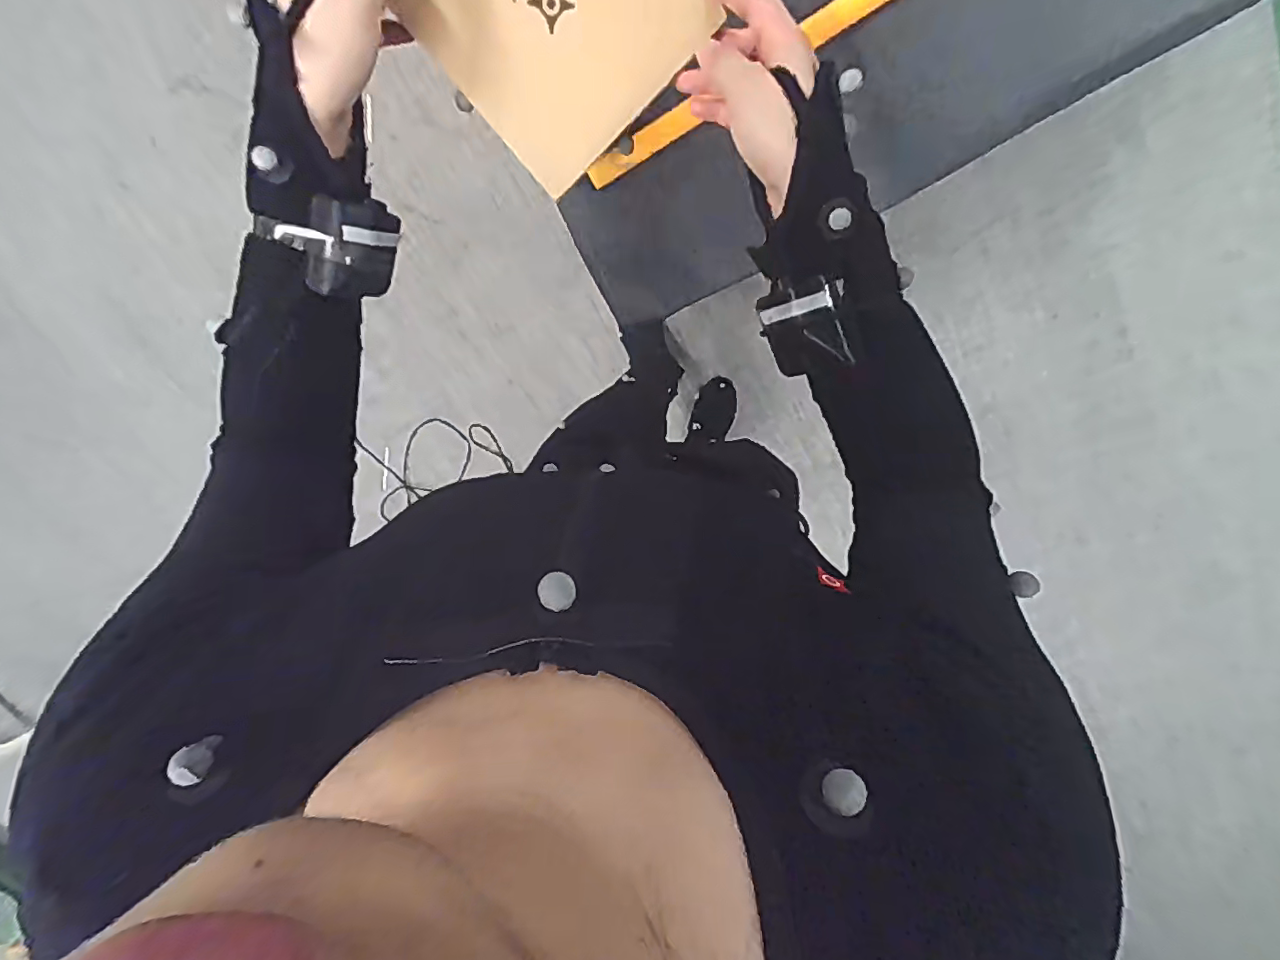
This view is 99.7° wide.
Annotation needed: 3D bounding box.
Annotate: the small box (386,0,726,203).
[{"bbox_3d":[-0.054,-0.356,0.417,0.168,0.176,0.179,-35,116,23],"label":"small box"}]
